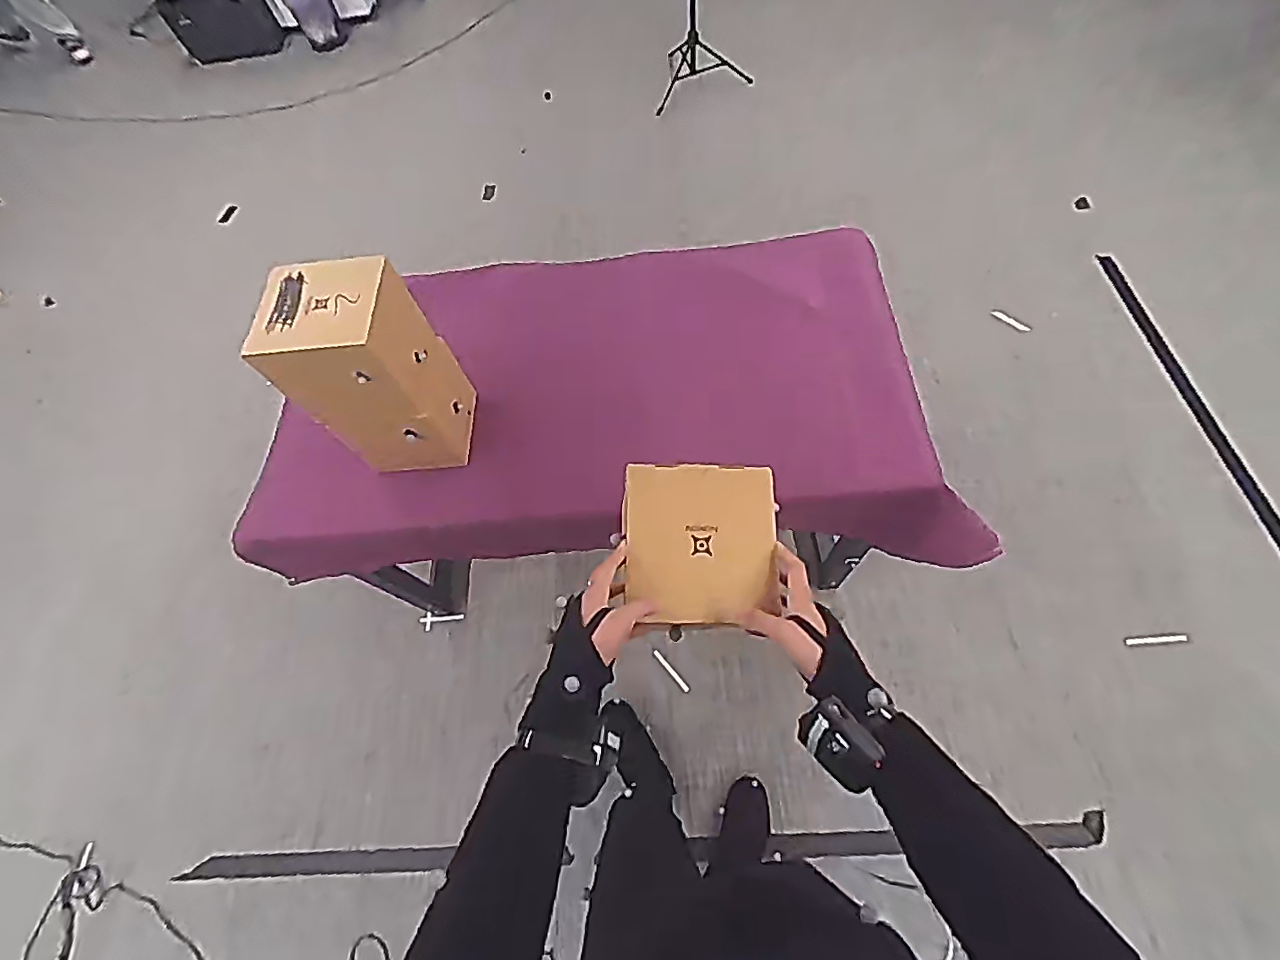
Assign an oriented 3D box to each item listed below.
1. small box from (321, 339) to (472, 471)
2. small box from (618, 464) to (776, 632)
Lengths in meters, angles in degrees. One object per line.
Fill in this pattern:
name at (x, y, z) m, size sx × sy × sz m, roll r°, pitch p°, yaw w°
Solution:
small box at (-0.414, -0.127, 0.954) m, size 0.179 × 0.176 × 0.168 m, roll -3°, pitch 63°, yaw 4°
small box at (0.059, 0.091, 0.656) m, size 0.168 × 0.176 × 0.179 m, roll 1°, pitch 70°, yaw -2°
